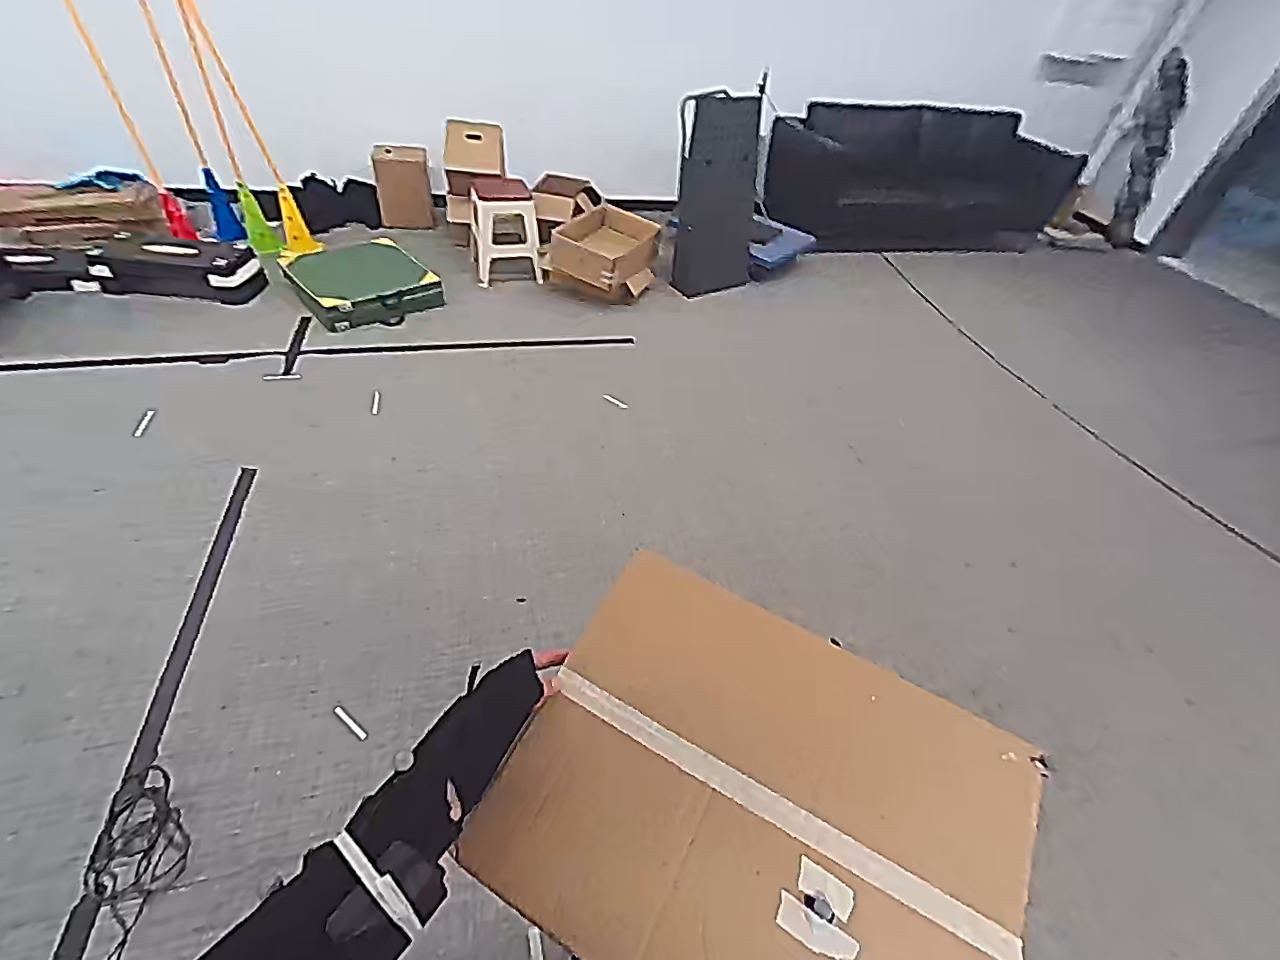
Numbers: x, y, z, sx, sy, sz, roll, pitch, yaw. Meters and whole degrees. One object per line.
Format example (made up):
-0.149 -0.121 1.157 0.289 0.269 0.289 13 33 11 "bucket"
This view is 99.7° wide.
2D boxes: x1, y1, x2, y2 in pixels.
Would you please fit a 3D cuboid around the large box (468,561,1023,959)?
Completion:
0.098 0.357 0.585 0.408 0.320 0.320 25 58 16 "large box"
